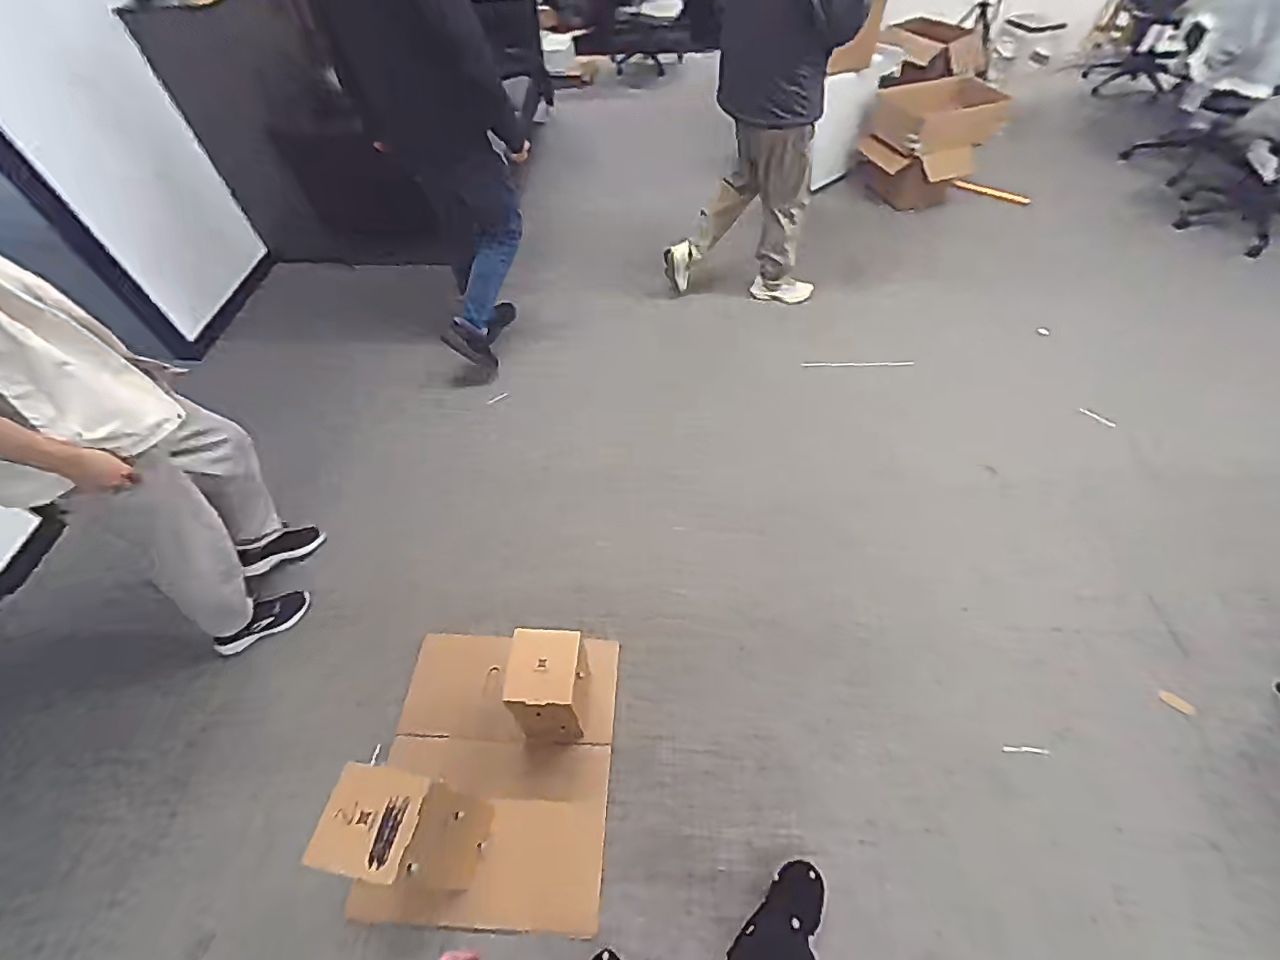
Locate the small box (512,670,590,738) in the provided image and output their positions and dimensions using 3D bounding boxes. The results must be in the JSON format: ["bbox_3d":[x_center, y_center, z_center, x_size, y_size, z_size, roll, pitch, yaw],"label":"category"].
[{"bbox_3d":[-0.234,0.591,1.472,0.168,0.176,0.179,2,53,4],"label":"small box"}]

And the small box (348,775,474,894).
[{"bbox_3d":[-0.471,0.754,1.149,0.168,0.176,0.179,7,54,9],"label":"small box"}]

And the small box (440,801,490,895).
[{"bbox_3d":[-0.472,0.857,1.279,0.168,0.176,0.179,8,53,9],"label":"small box"}]

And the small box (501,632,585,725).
[{"bbox_3d":[-0.232,0.495,1.342,0.168,0.176,0.179,2,54,3],"label":"small box"}]
